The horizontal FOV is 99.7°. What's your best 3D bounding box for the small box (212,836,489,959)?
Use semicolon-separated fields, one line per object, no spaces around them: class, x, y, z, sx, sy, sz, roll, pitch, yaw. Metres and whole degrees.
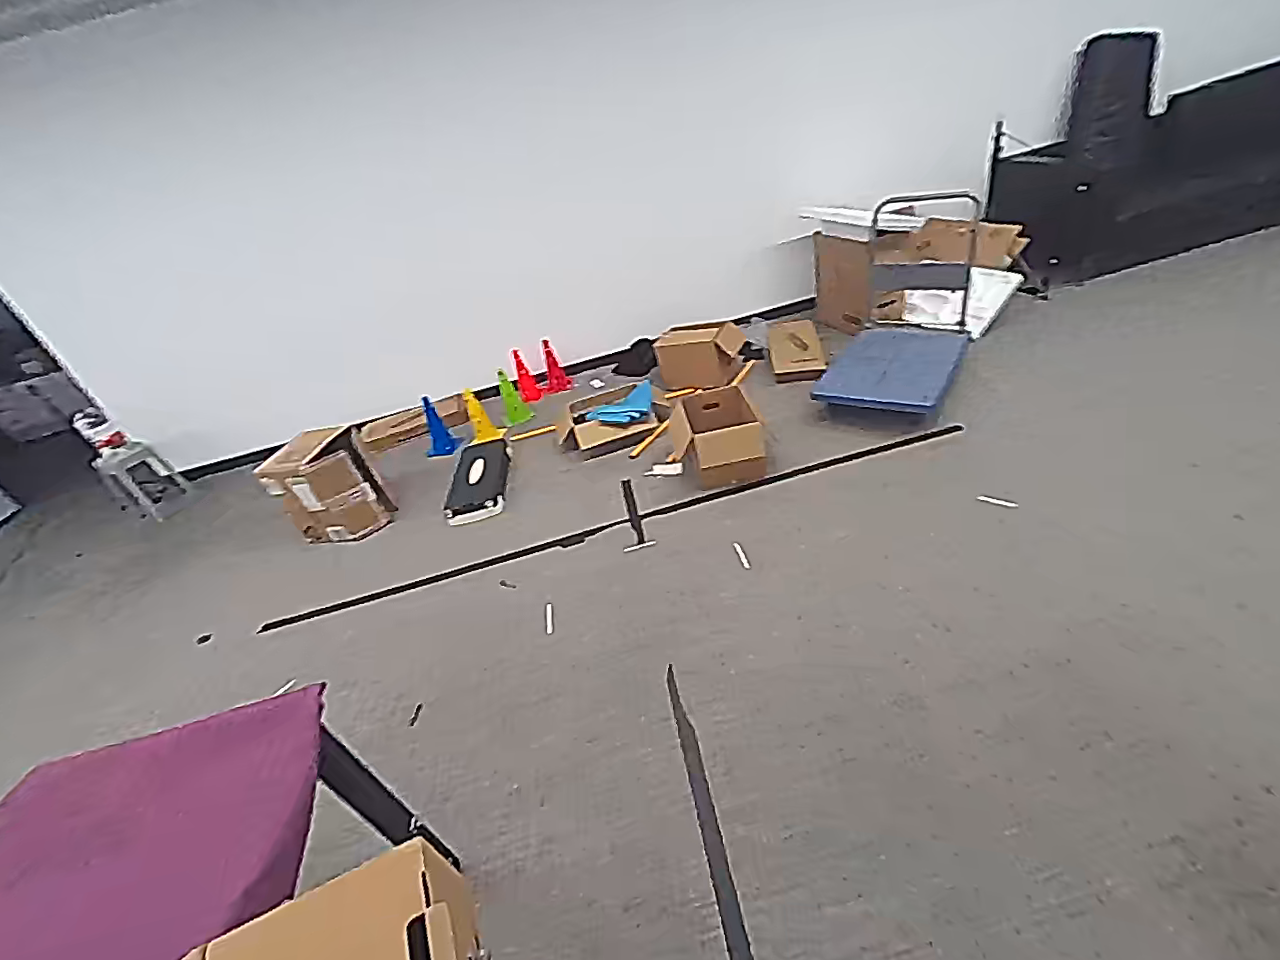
small box;-0.234;0.457;0.464;0.179;0.176;0.168;-19;43;-16
